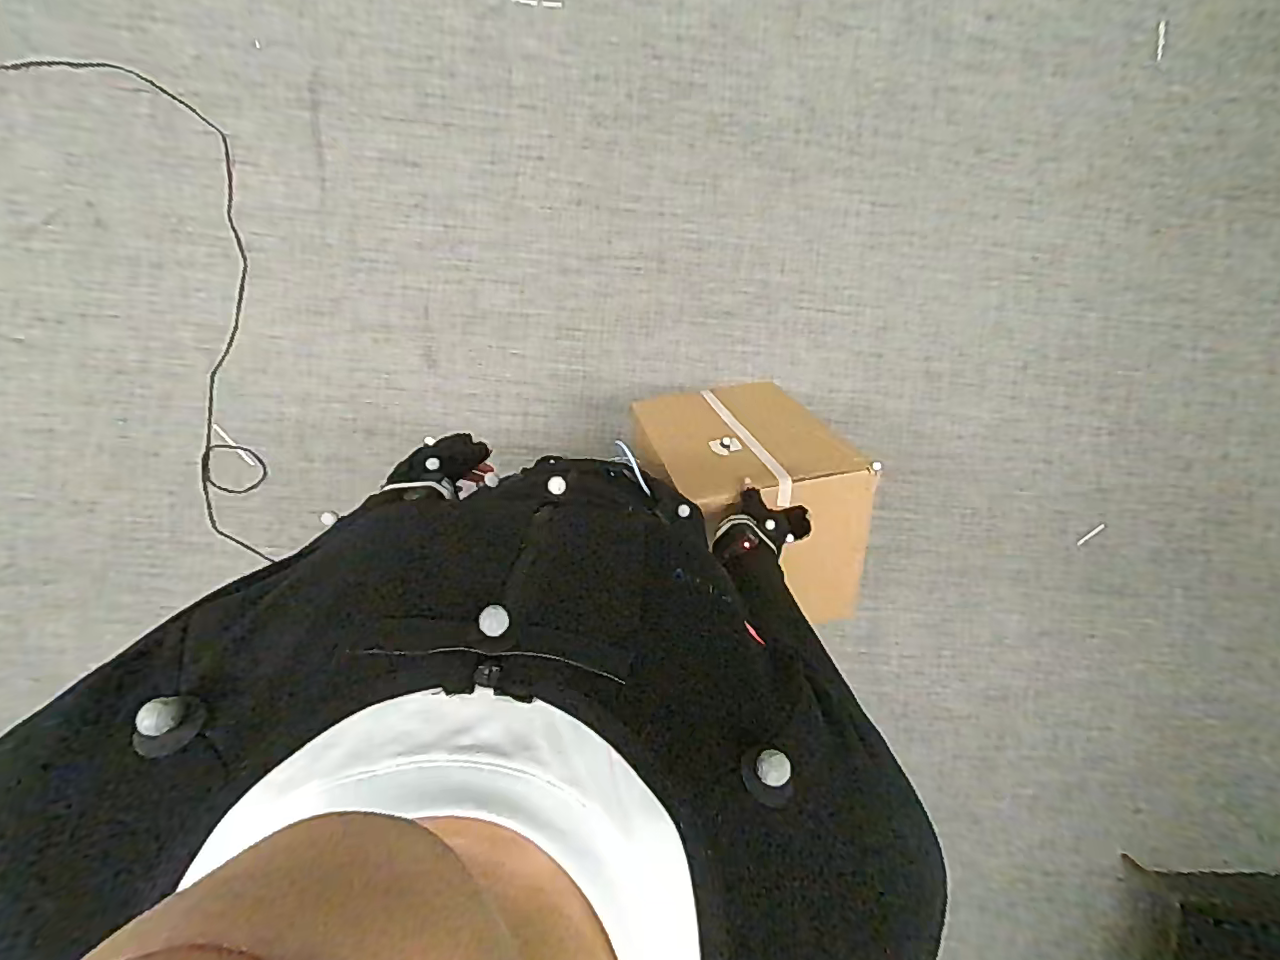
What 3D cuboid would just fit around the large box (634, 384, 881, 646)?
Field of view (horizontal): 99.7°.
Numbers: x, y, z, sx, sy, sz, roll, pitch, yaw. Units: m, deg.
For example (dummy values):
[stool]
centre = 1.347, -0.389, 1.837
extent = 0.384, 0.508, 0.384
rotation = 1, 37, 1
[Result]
[large box]
centre = 0.186, 0.043, 1.043
extent = 0.320, 0.408, 0.320
rotation = -10, 122, -8
